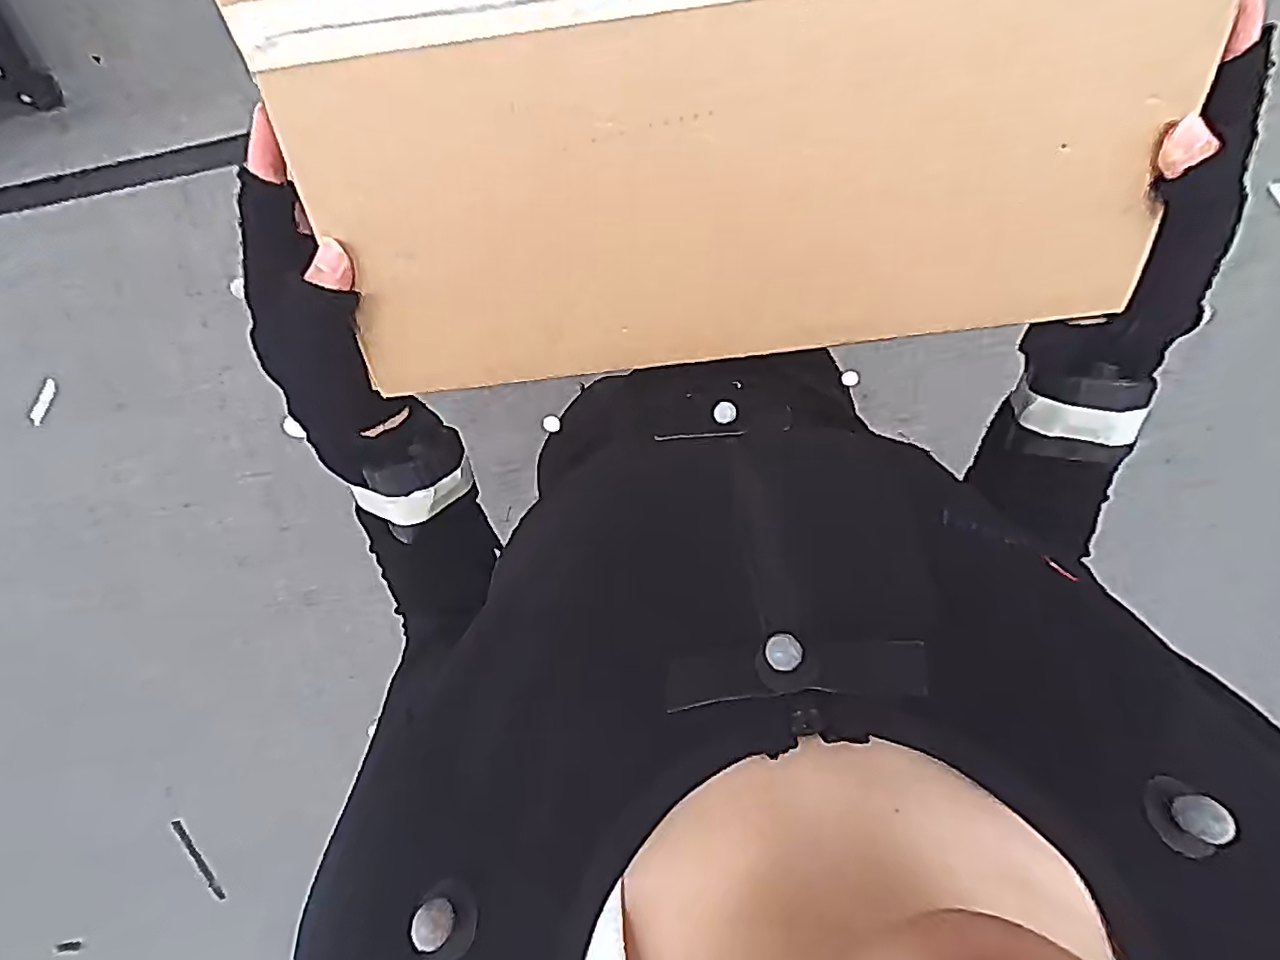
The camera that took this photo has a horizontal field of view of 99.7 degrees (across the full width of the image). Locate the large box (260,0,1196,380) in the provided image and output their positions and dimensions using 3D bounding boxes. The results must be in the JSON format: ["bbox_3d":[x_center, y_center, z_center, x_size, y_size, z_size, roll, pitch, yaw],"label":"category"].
[{"bbox_3d":[0.032,-0.286,0.354,0.408,0.320,0.320,-7,122,2],"label":"large box"}]
